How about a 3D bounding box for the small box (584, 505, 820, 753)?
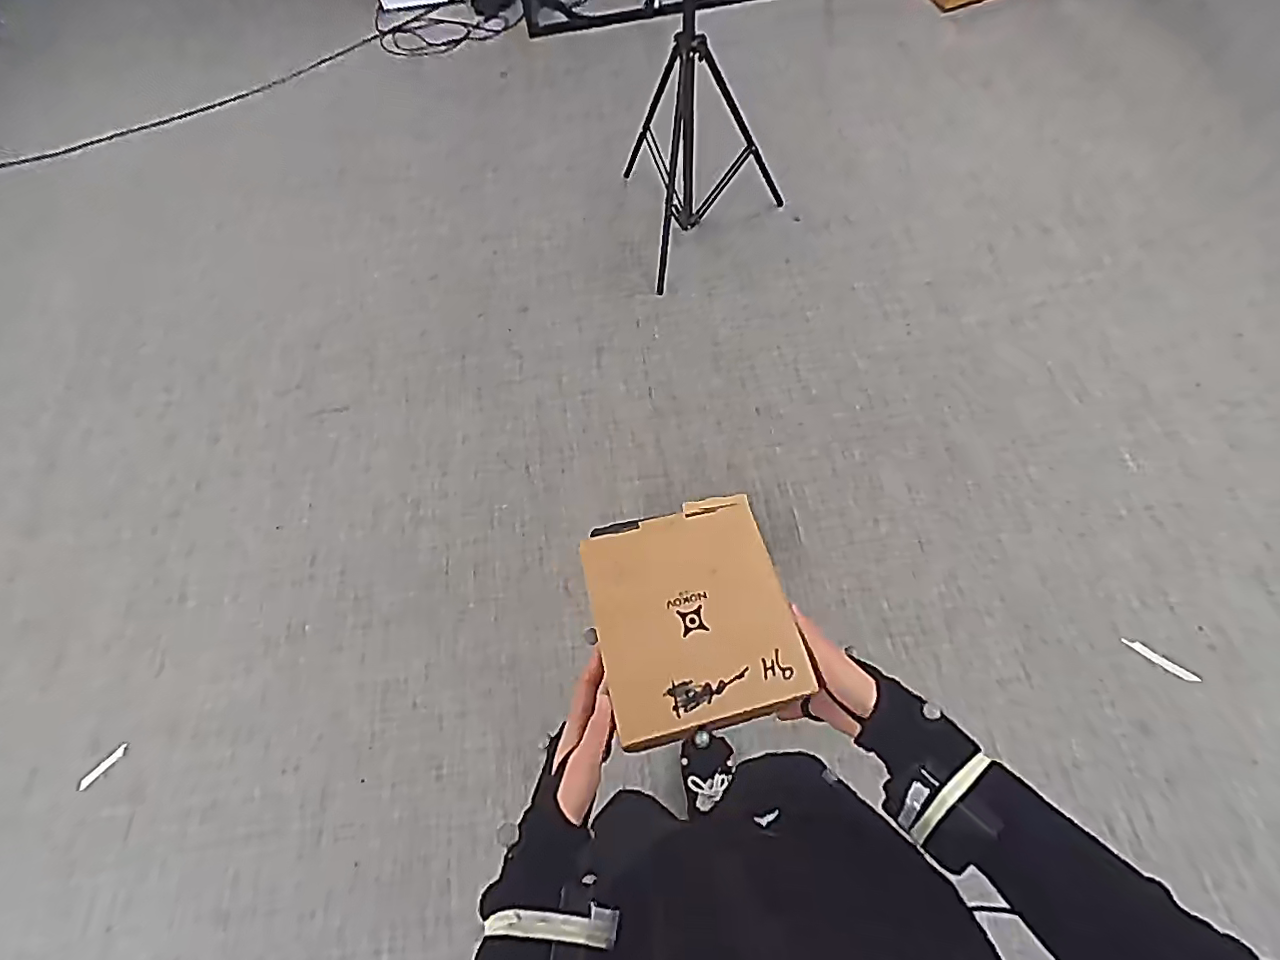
[{"bbox_3d":[0.045,0.151,0.528,0.168,0.176,0.179,-12,62,-6],"label":"small box"}]
